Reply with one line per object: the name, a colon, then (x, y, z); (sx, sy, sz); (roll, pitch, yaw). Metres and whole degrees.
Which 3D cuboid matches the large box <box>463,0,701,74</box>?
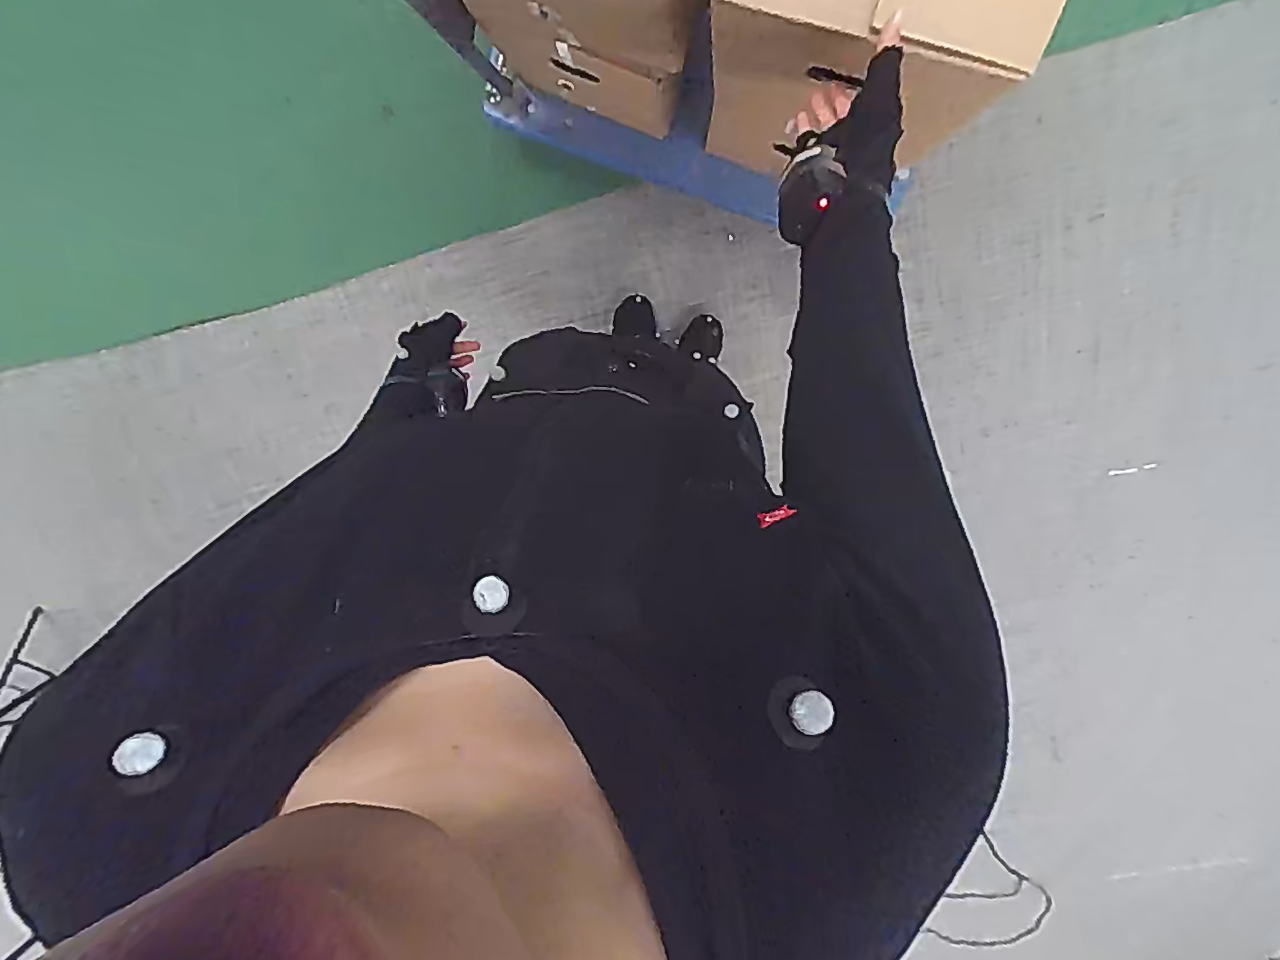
large box: (-0.056, -0.751, 0.571); (0.320, 0.320, 0.408); (18, 108, 2)
